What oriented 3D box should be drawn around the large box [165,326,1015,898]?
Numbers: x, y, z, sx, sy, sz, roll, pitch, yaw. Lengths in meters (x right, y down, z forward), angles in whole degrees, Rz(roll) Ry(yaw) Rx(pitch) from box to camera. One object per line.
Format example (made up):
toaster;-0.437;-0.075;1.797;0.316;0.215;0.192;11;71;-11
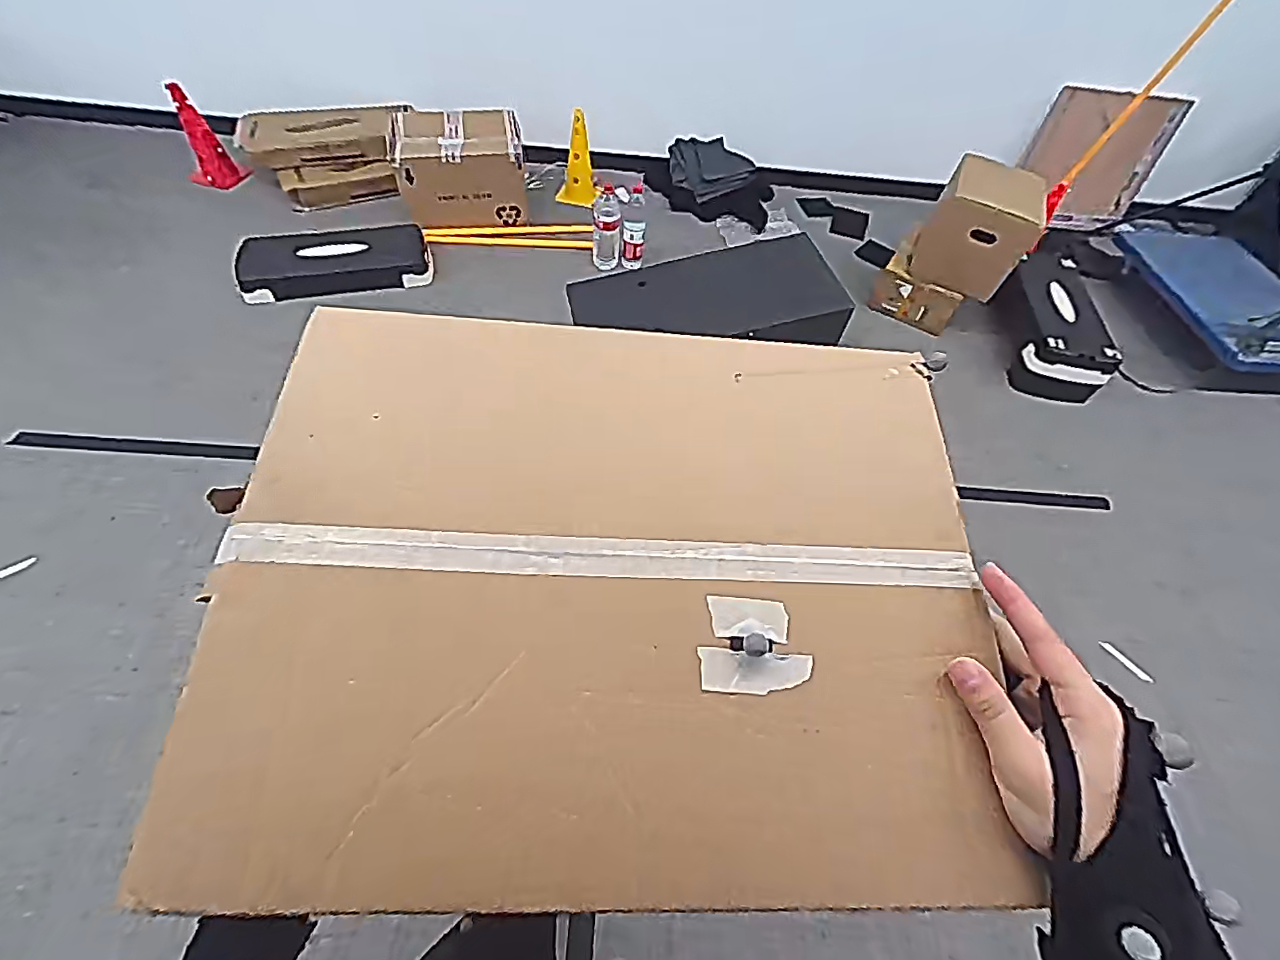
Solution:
large box;-0.025;0.107;0.445;0.408;0.320;0.320;3;66;-5
